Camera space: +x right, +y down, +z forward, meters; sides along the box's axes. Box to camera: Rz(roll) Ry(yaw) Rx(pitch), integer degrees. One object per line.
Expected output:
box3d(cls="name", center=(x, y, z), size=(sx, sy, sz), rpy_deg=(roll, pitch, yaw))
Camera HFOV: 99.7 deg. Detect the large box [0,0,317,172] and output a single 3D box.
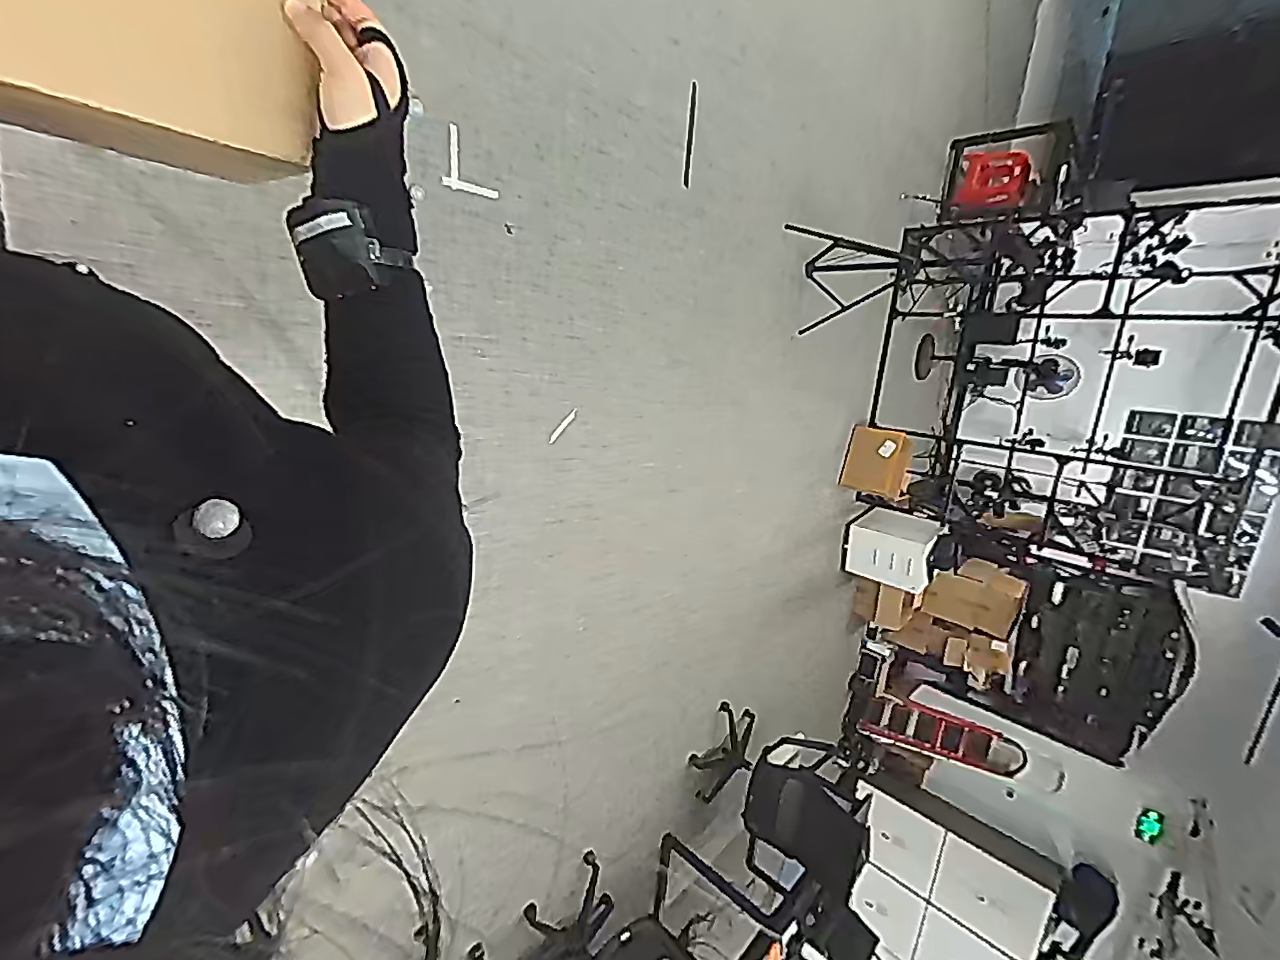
box3d(cls="large box", center=(-0.471, -0.427, 0.350), size=(0.408, 0.320, 0.320), rpy_deg=(-5, 112, -42))
